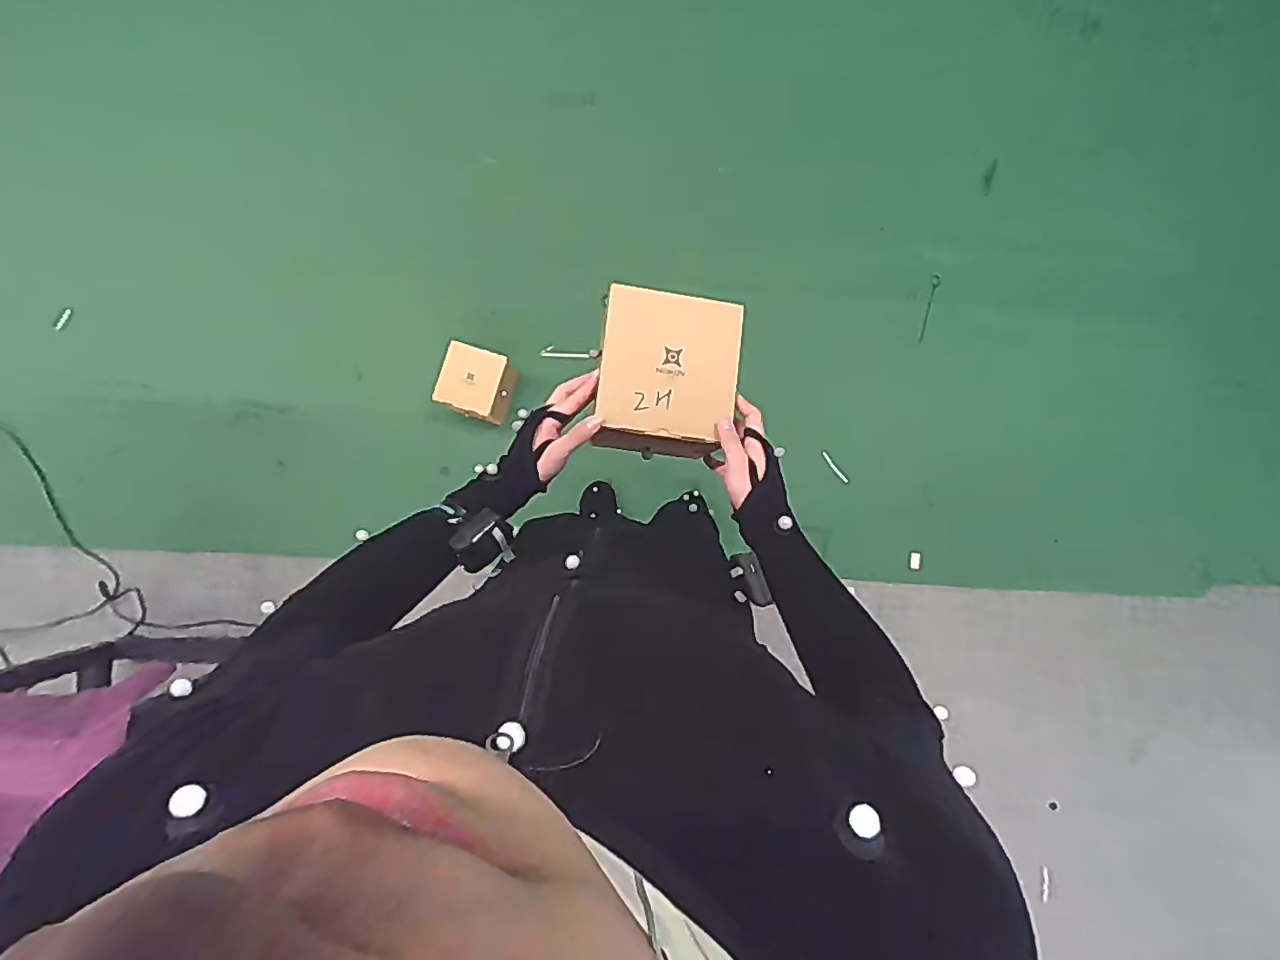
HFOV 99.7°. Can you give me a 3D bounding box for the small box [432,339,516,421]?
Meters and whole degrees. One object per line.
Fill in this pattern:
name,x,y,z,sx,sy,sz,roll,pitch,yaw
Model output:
small box,-0.471,-0.282,1.563,0.168,0.176,0.179,18,89,-1
